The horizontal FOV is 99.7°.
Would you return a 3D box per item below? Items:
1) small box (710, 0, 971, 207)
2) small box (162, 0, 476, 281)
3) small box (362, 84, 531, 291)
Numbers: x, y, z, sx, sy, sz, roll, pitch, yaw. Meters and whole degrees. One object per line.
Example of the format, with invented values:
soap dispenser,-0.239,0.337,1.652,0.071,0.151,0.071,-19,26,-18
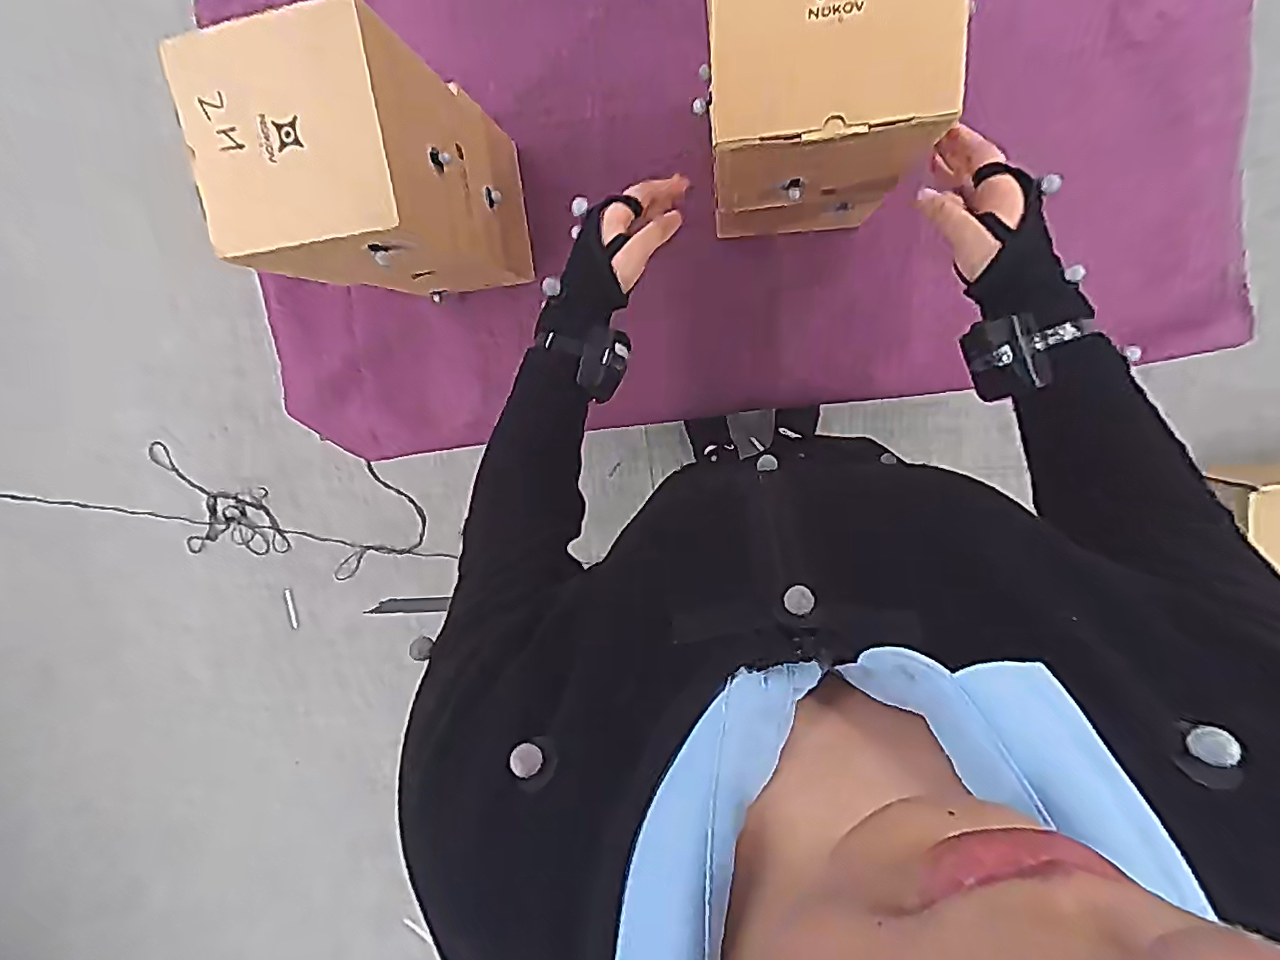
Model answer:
small box,0.141,-0.342,0.431,0.168,0.176,0.179,-2,102,9
small box,-0.270,-0.291,0.504,0.179,0.176,0.168,-5,101,10
small box,-0.244,-0.335,0.661,0.168,0.176,0.179,-5,101,9
